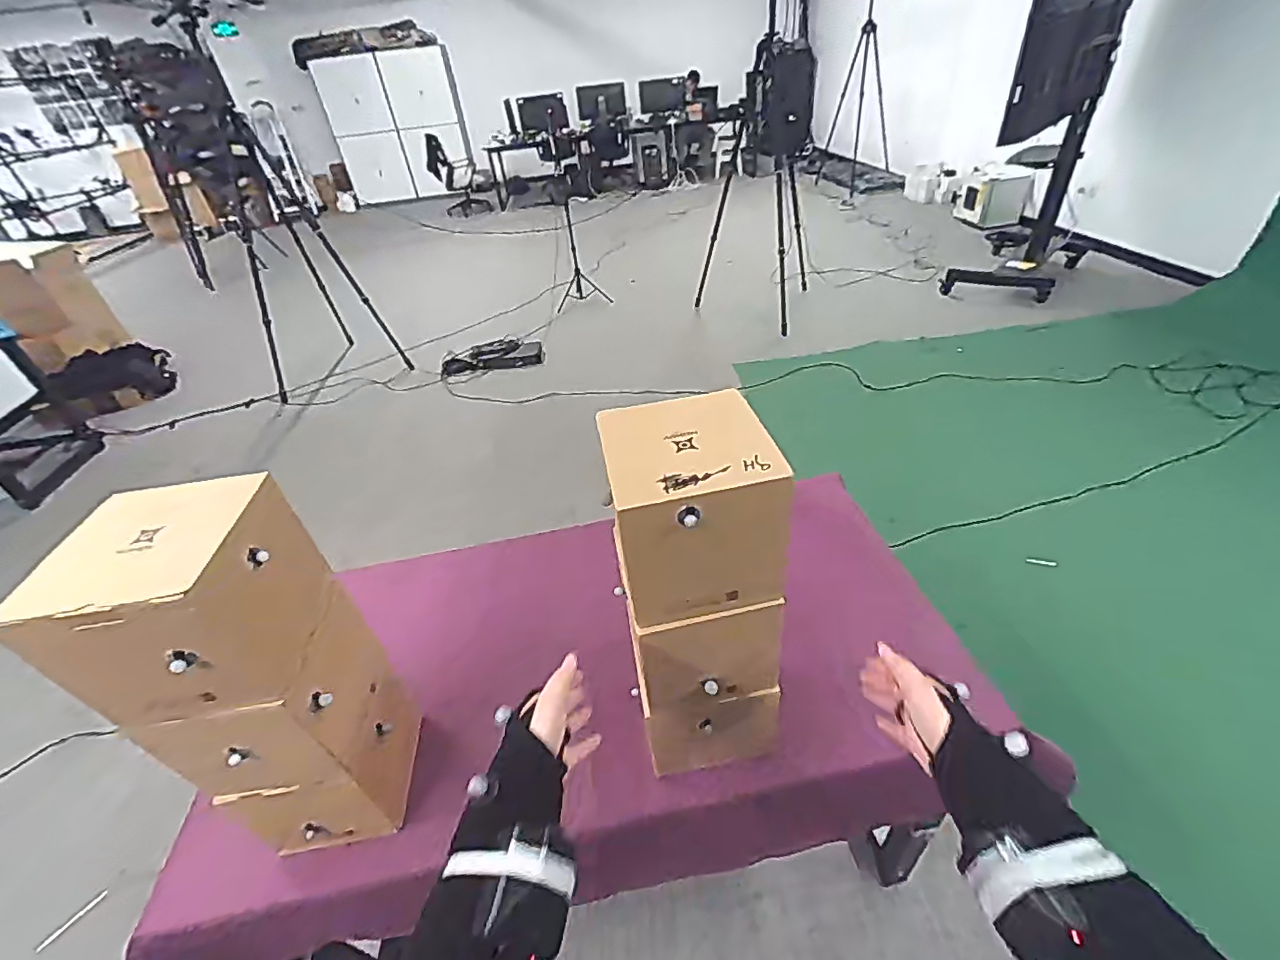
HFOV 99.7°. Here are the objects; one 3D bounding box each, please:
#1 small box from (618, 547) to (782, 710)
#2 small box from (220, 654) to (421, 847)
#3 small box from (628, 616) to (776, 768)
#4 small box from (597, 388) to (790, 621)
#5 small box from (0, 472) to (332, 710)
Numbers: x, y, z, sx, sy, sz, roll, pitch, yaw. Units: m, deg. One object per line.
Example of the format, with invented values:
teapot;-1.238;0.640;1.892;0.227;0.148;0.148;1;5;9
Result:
small box;0.067;0.157;0.688;0.168;0.176;0.179;-12;38;-4
small box;-0.427;0.379;0.763;0.168;0.176;0.179;-10;38;-3
small box;0.087;0.290;0.783;0.179;0.176;0.168;-10;39;-2
small box;0.052;0.023;0.593;0.168;0.176;0.179;-12;37;-3
small box;-0.459;0.119;0.566;0.168;0.176;0.179;-8;38;-2
